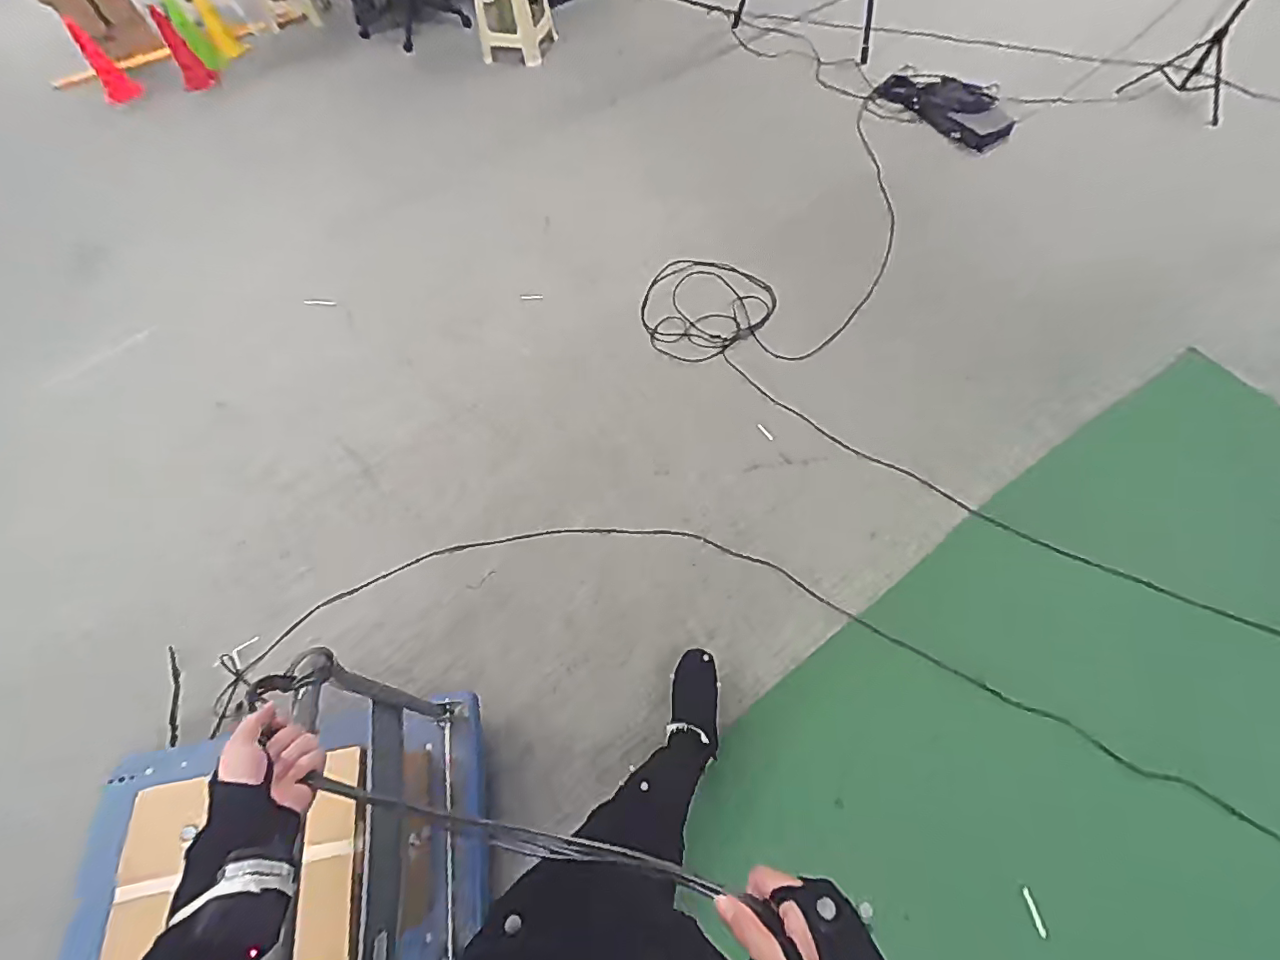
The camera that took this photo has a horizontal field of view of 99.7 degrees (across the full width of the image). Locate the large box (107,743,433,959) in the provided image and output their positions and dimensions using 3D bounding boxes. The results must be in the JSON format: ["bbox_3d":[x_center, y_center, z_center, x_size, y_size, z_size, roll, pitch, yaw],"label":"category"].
[{"bbox_3d":[-0.654,0.718,1.034,0.408,0.320,0.320,-11,61,-1],"label":"large box"}]
